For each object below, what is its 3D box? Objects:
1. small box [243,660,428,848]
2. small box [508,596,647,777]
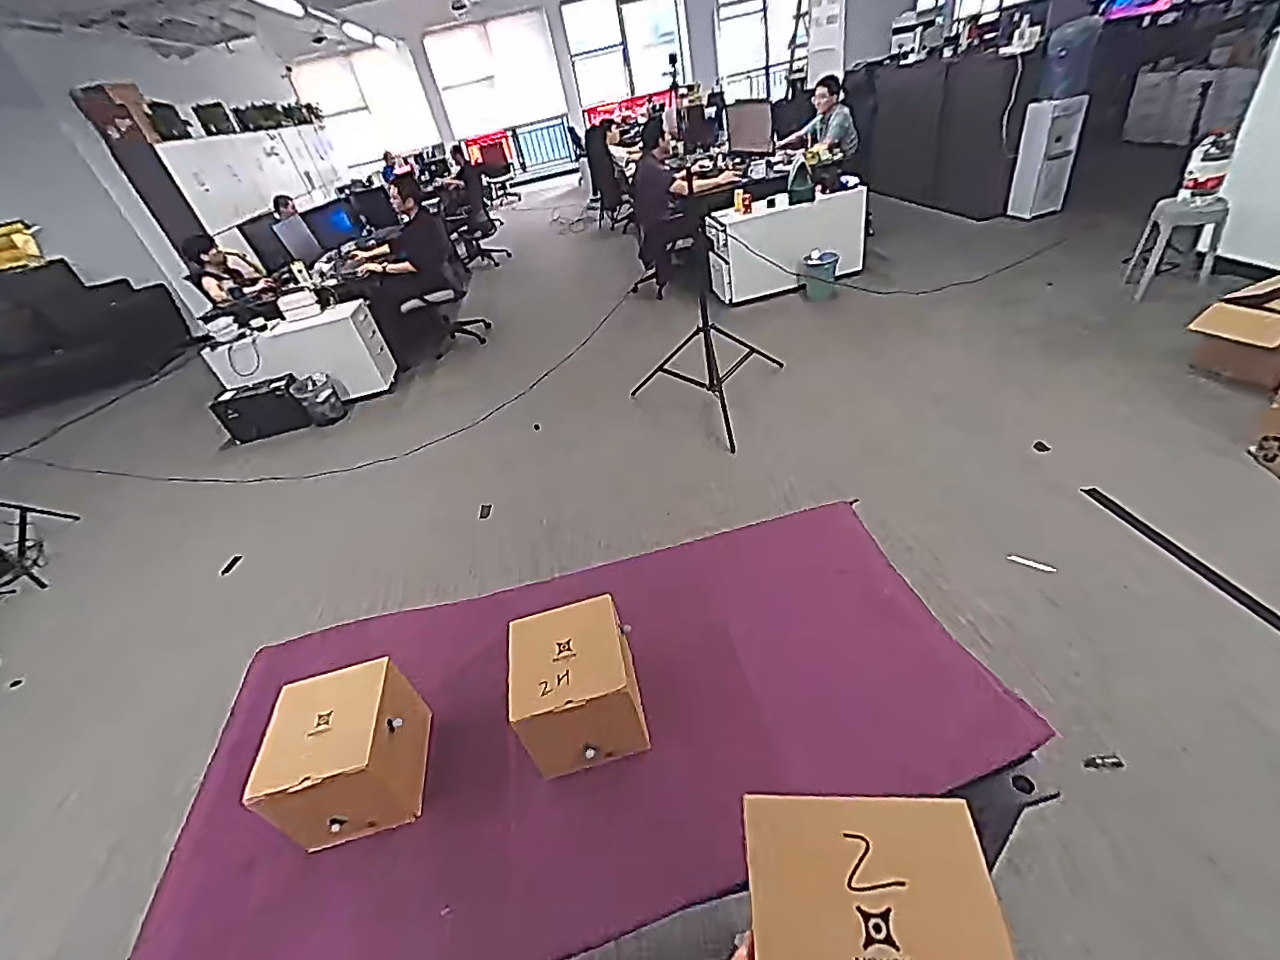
[{"bbox_3d":[-0.436,0.408,0.812,0.168,0.176,0.179,-15,37,-4],"label":"small box"},{"bbox_3d":[-0.095,0.314,0.828,0.168,0.176,0.179,-16,37,-2],"label":"small box"}]
